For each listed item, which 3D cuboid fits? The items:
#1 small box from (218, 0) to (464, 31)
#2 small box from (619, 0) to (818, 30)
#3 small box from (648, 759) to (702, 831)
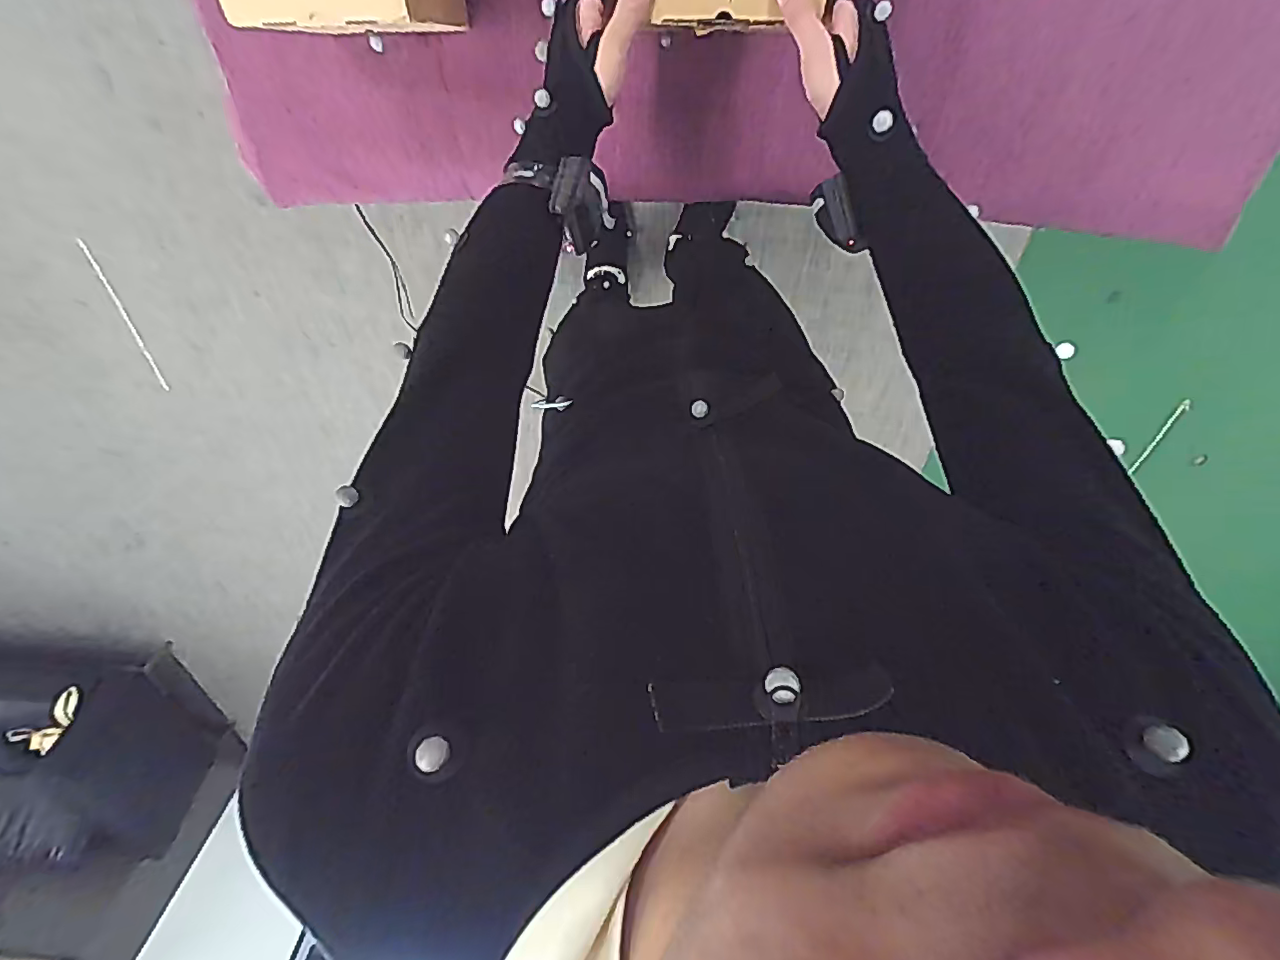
[{"bbox_3d":[-0.274,-0.514,0.477,0.168,0.176,0.179,2,128,3],"label":"small box"},{"bbox_3d":[0.072,-0.500,0.460,0.168,0.176,0.179,3,128,3],"label":"small box"},{"bbox_3d":[0.124,1.106,1.906,0.179,0.176,0.168,4,128,3],"label":"small box"}]
